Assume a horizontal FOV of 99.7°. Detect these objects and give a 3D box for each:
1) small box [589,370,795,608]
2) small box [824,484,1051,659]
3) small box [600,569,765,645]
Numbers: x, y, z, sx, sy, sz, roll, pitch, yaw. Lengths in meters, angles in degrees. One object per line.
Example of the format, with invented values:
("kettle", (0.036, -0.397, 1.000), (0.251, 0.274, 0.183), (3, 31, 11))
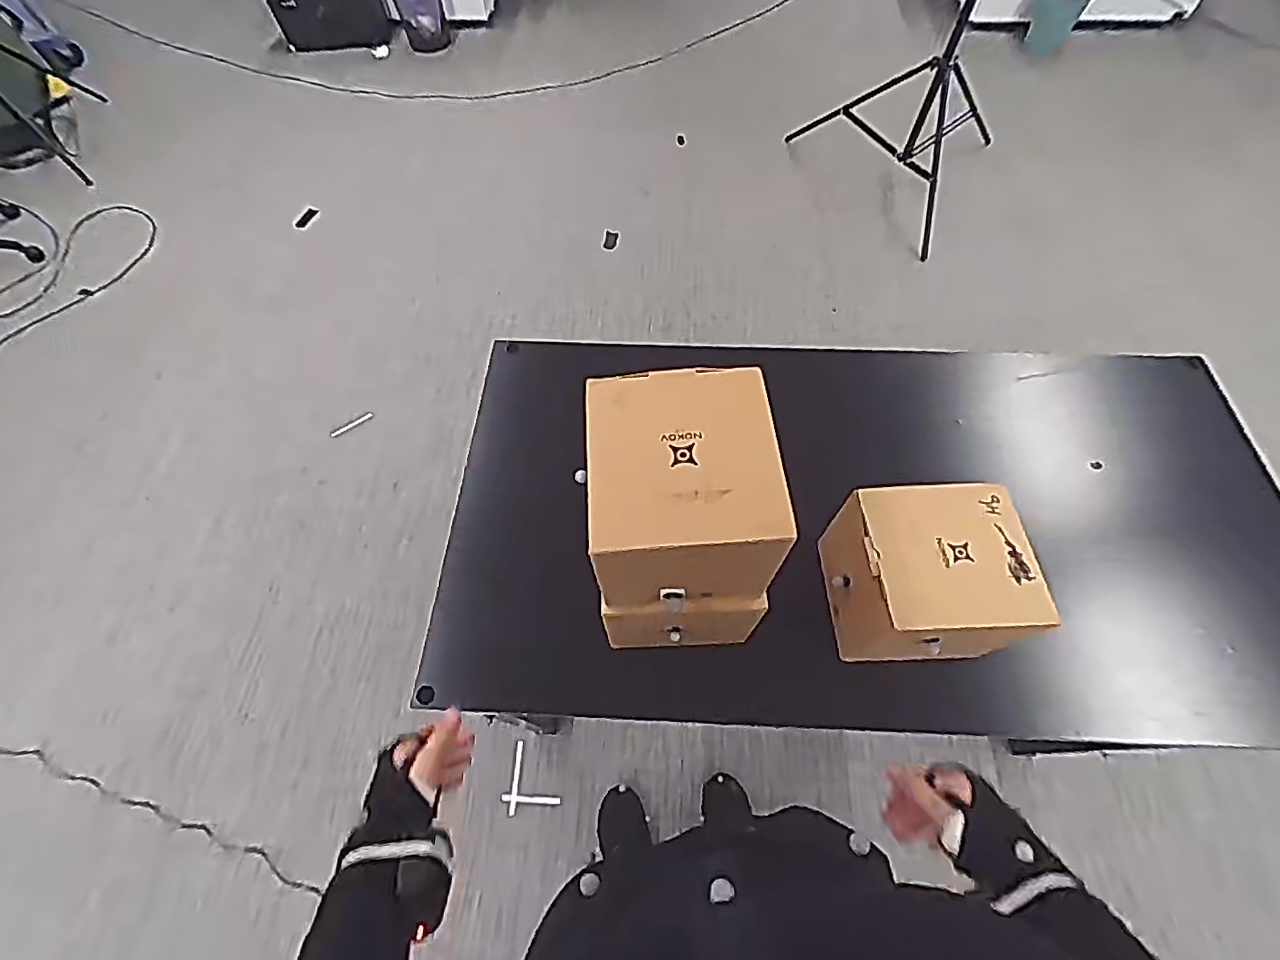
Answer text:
("small box", (0.040, 0.015, 0.538), (0.168, 0.176, 0.179), (-5, 62, 0))
("small box", (0.337, 0.118, 0.662), (0.179, 0.176, 0.168), (-3, 61, 1))
("small box", (0.045, 0.105, 0.674), (0.179, 0.176, 0.168), (-3, 61, 1))
